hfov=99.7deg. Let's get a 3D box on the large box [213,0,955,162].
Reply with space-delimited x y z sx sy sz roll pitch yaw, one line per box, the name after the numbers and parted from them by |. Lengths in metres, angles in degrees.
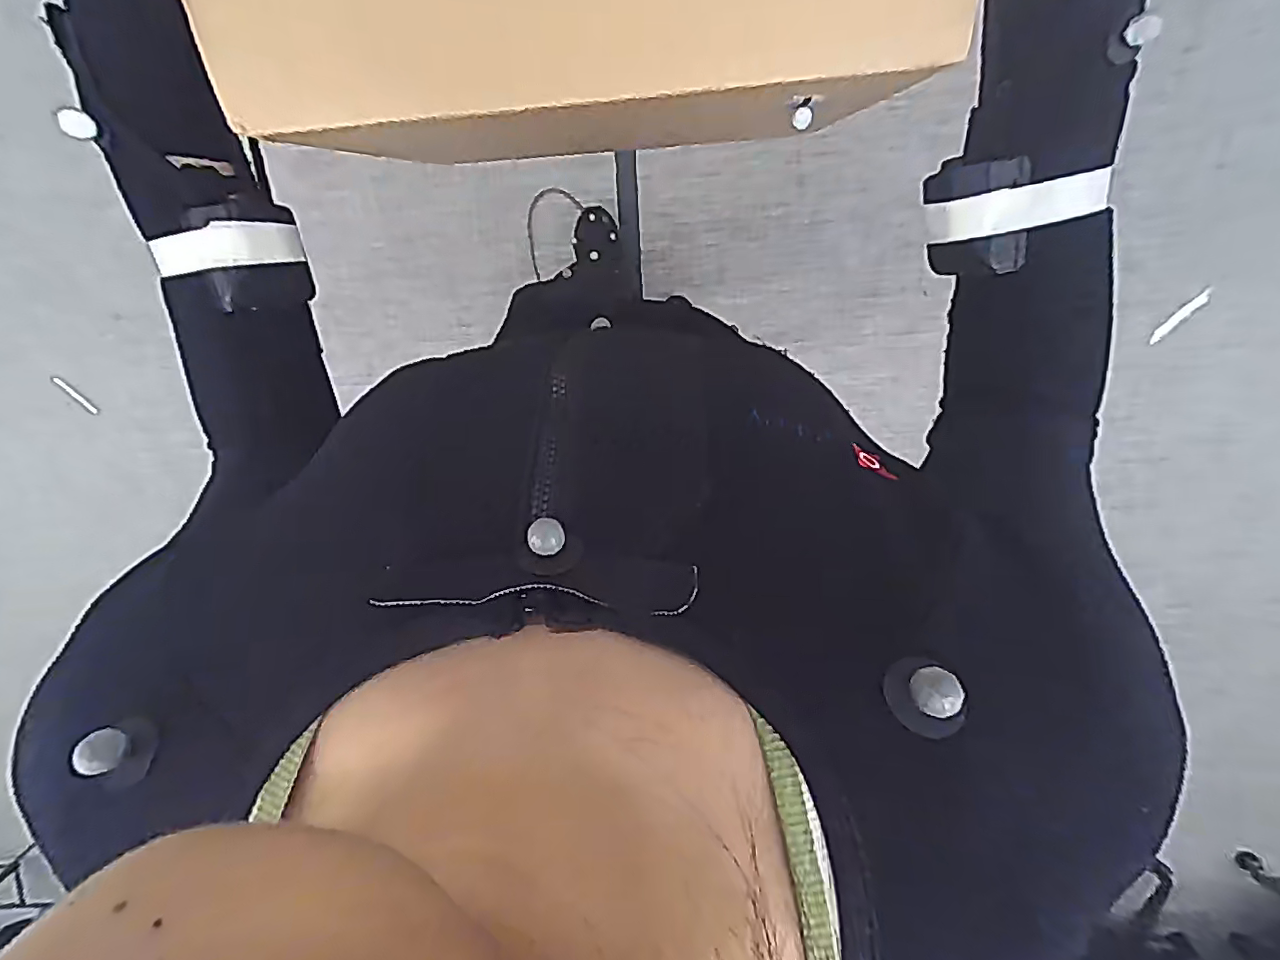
-0.035 -0.420 0.371 0.408 0.320 0.320 -3 116 5 | large box
